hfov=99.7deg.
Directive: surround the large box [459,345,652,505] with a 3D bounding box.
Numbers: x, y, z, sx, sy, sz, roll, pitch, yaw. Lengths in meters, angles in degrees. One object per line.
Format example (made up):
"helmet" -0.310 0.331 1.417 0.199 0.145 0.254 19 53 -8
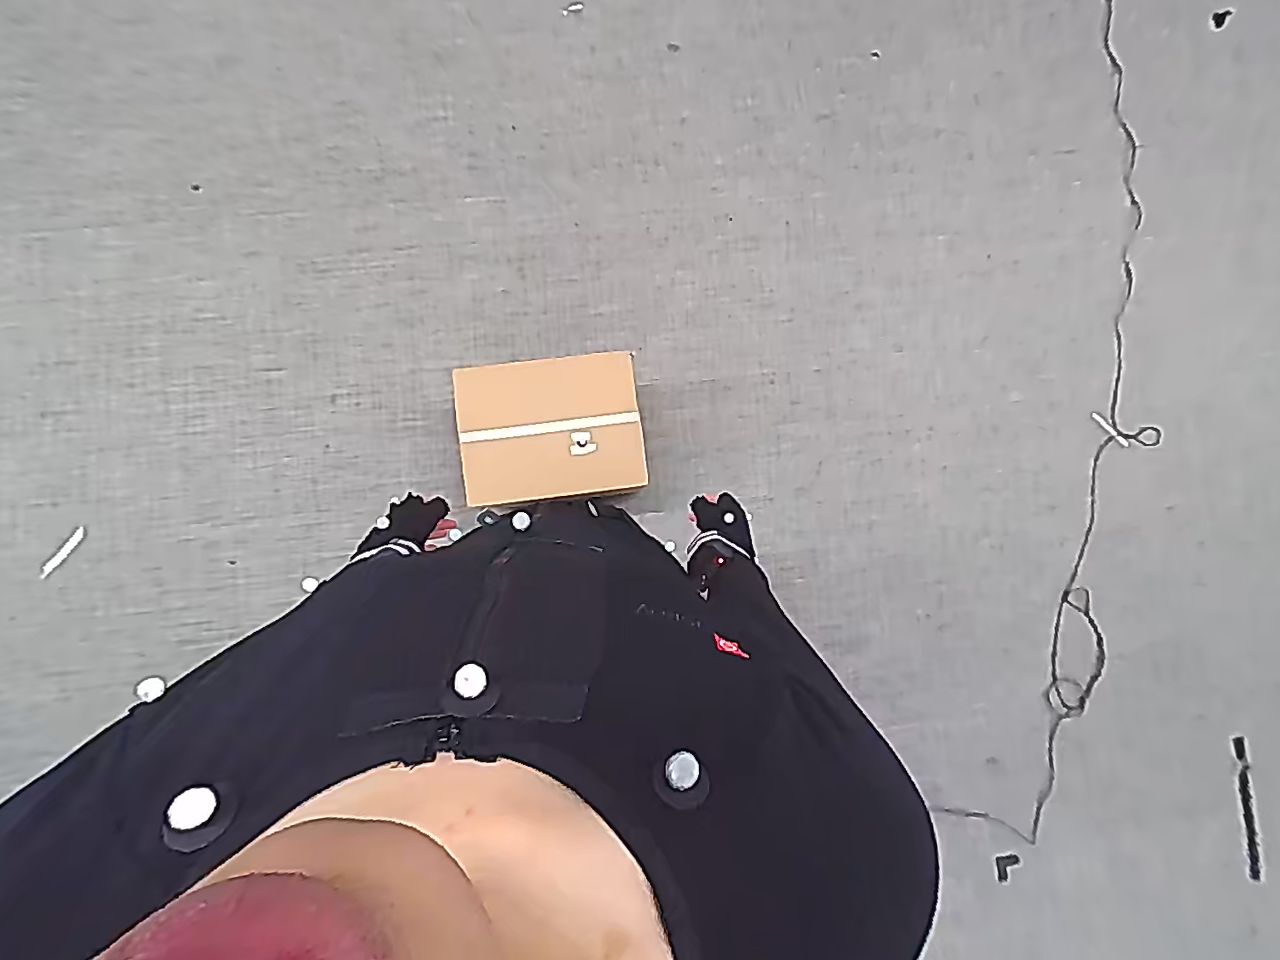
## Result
"large box" -0.200 -0.120 1.357 0.408 0.320 0.320 -8 88 -4
